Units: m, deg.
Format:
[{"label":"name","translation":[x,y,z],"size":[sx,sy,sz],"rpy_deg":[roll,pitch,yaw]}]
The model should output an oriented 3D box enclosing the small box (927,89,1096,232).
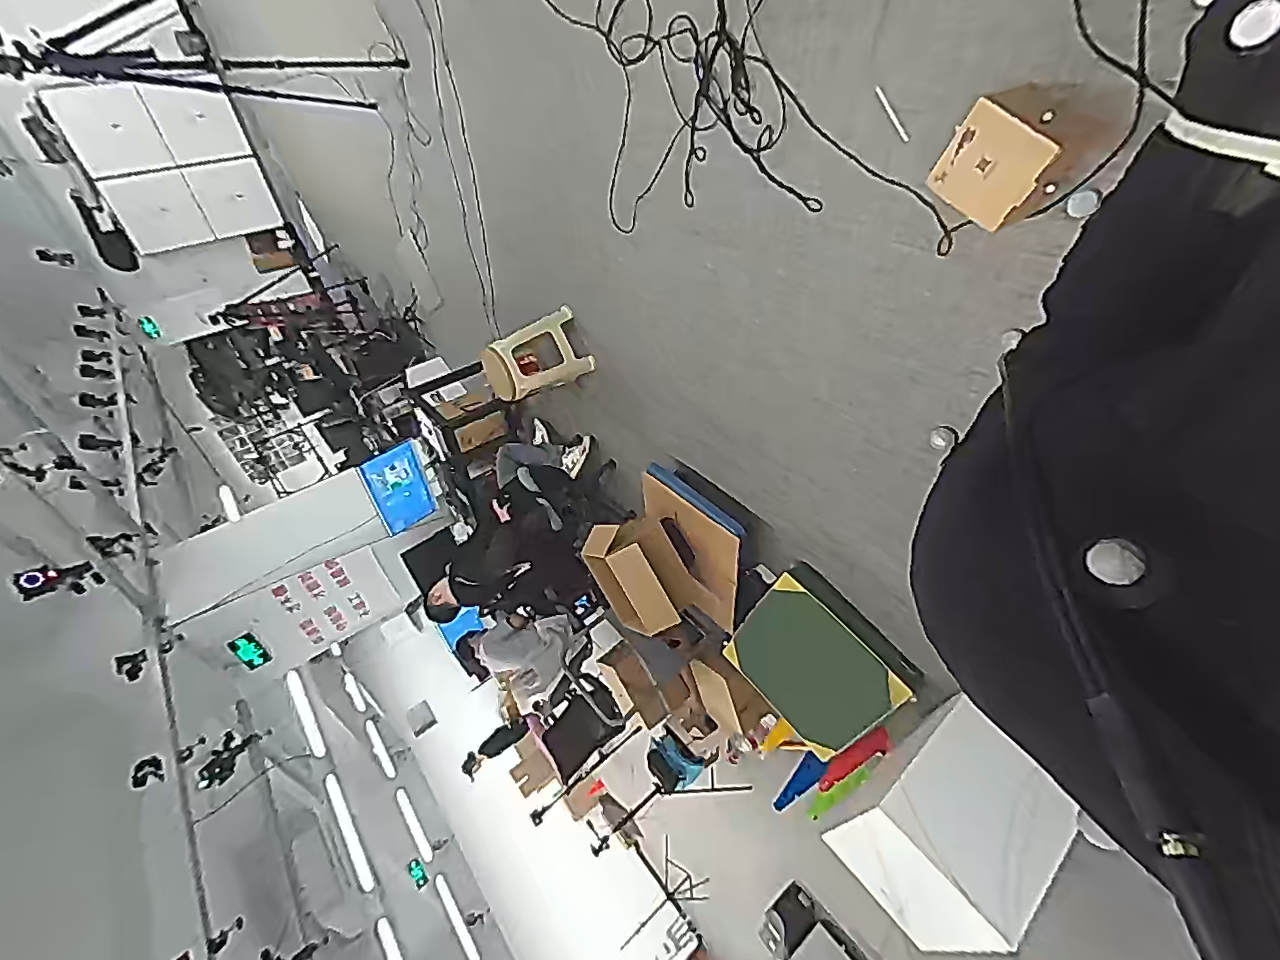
[{"label":"small box","translation":[0.707,-0.615,1.033],"size":[0.179,0.176,0.168],"rpy_deg":[51,152,18]}]
